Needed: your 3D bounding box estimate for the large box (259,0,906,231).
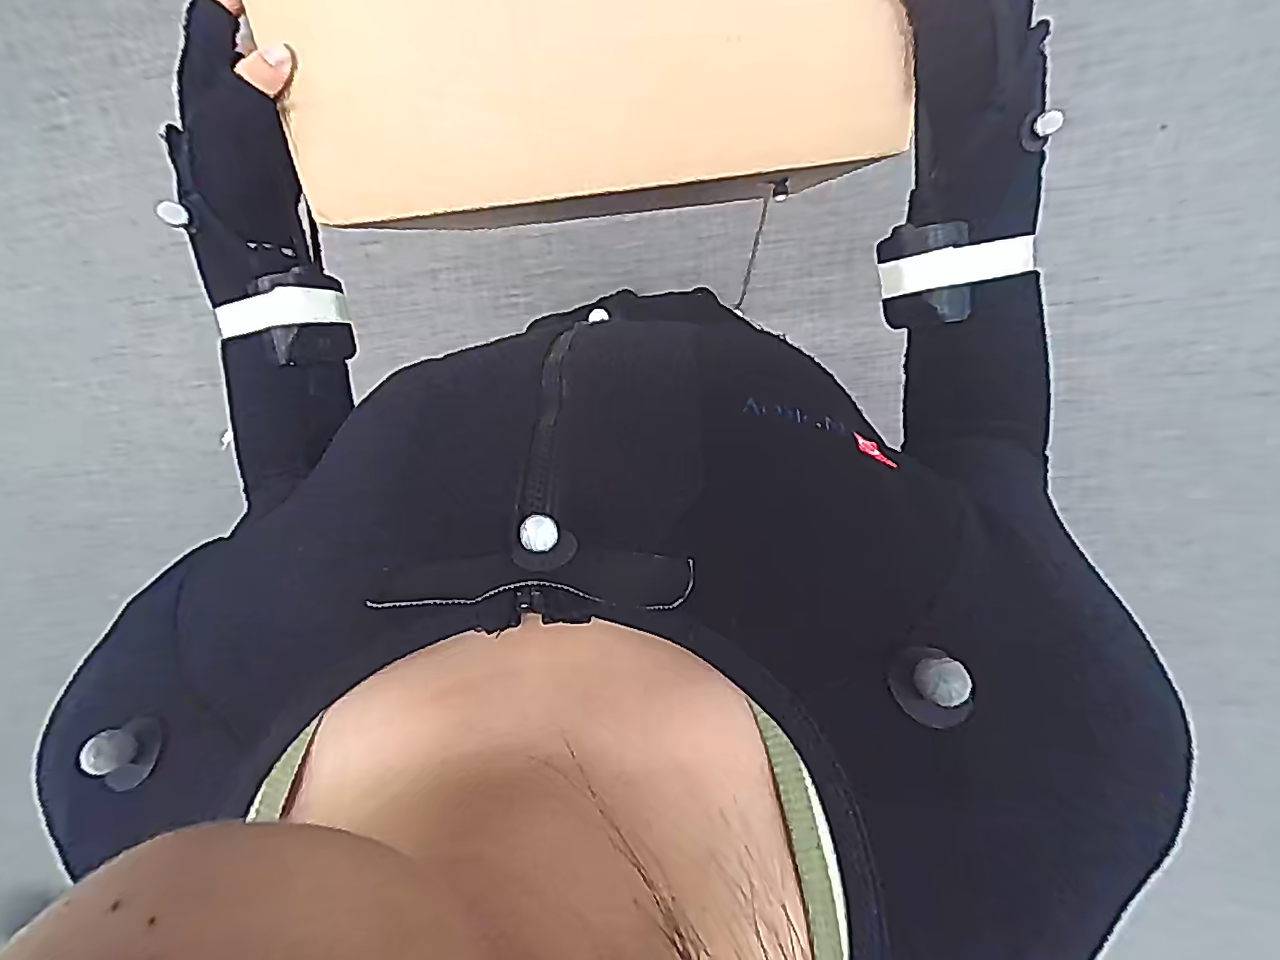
[{"bbox_3d":[-0.037,-0.399,0.450,0.408,0.320,0.320,-5,113,4],"label":"large box"}]
